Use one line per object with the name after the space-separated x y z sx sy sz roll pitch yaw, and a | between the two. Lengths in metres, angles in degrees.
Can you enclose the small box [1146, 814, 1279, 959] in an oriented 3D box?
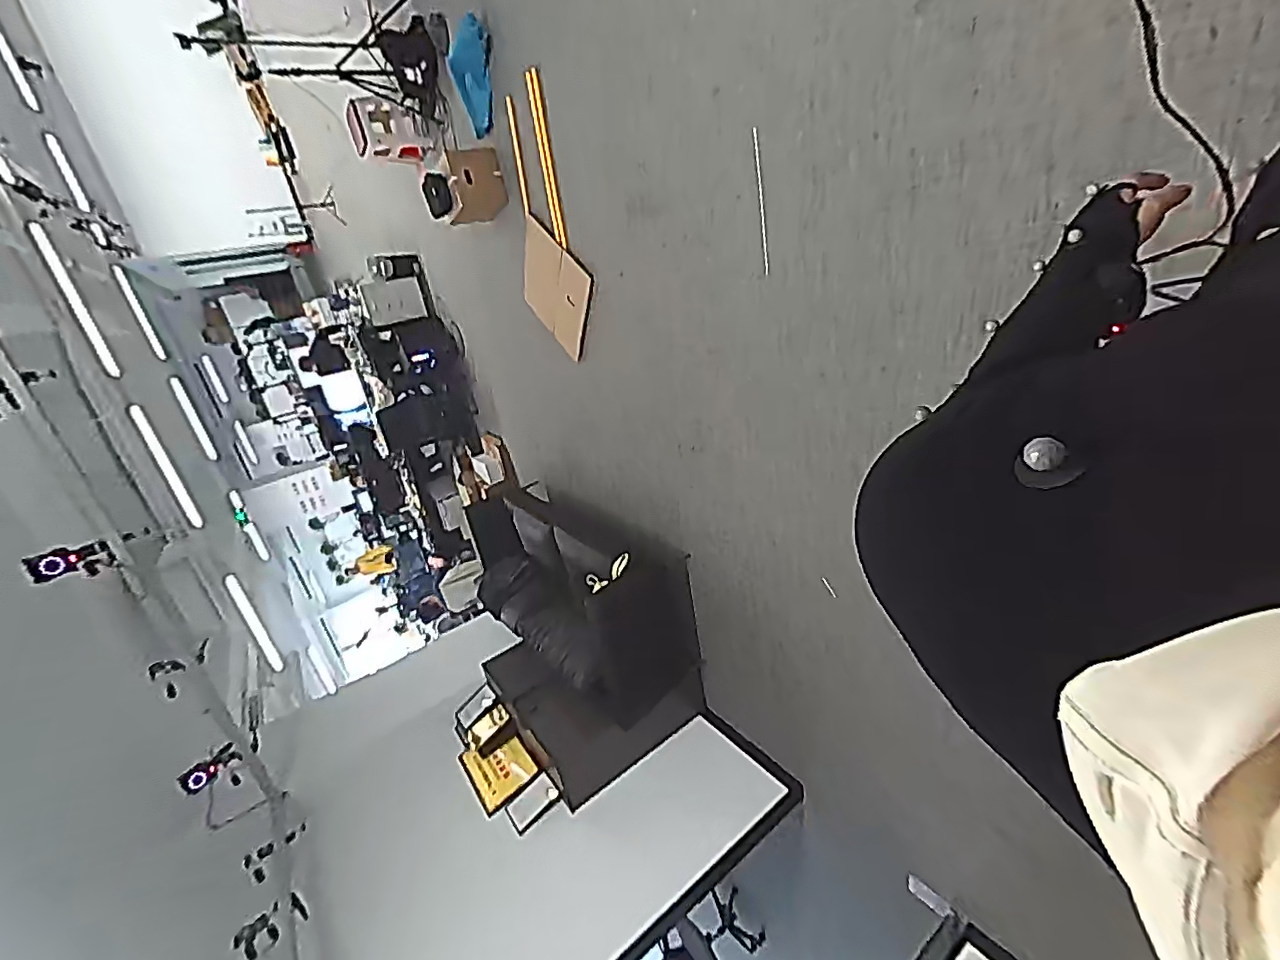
1.066 0.751 0.967 0.168 0.176 0.179 30 136 47 | small box
